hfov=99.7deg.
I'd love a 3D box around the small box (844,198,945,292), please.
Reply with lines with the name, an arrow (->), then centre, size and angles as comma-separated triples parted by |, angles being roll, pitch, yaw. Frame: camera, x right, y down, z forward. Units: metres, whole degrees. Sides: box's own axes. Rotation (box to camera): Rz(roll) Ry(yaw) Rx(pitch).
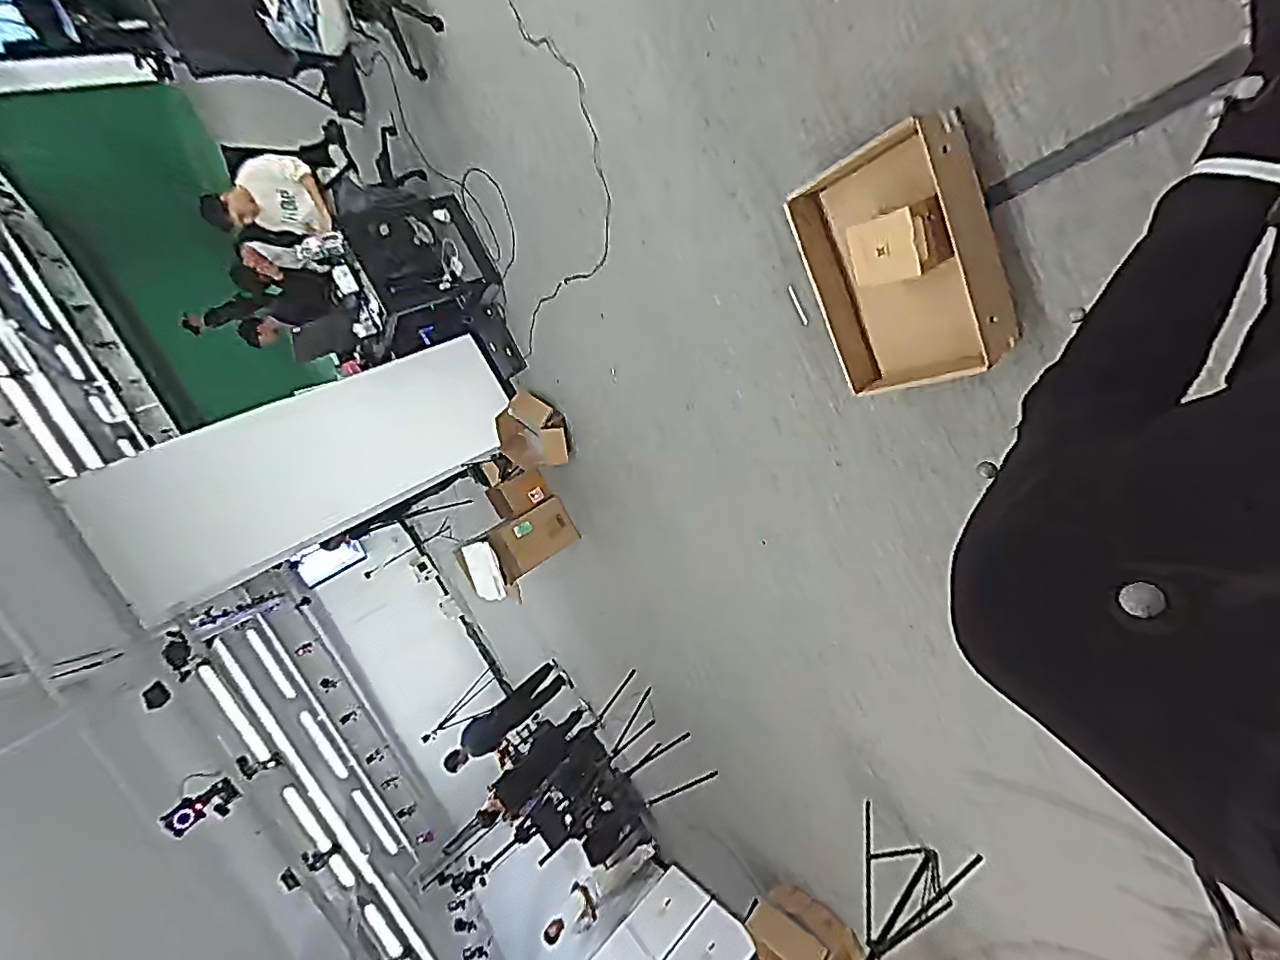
small box -> 0.666, -0.608, 1.401 | 0.179, 0.176, 0.168 | 7, 124, 53
